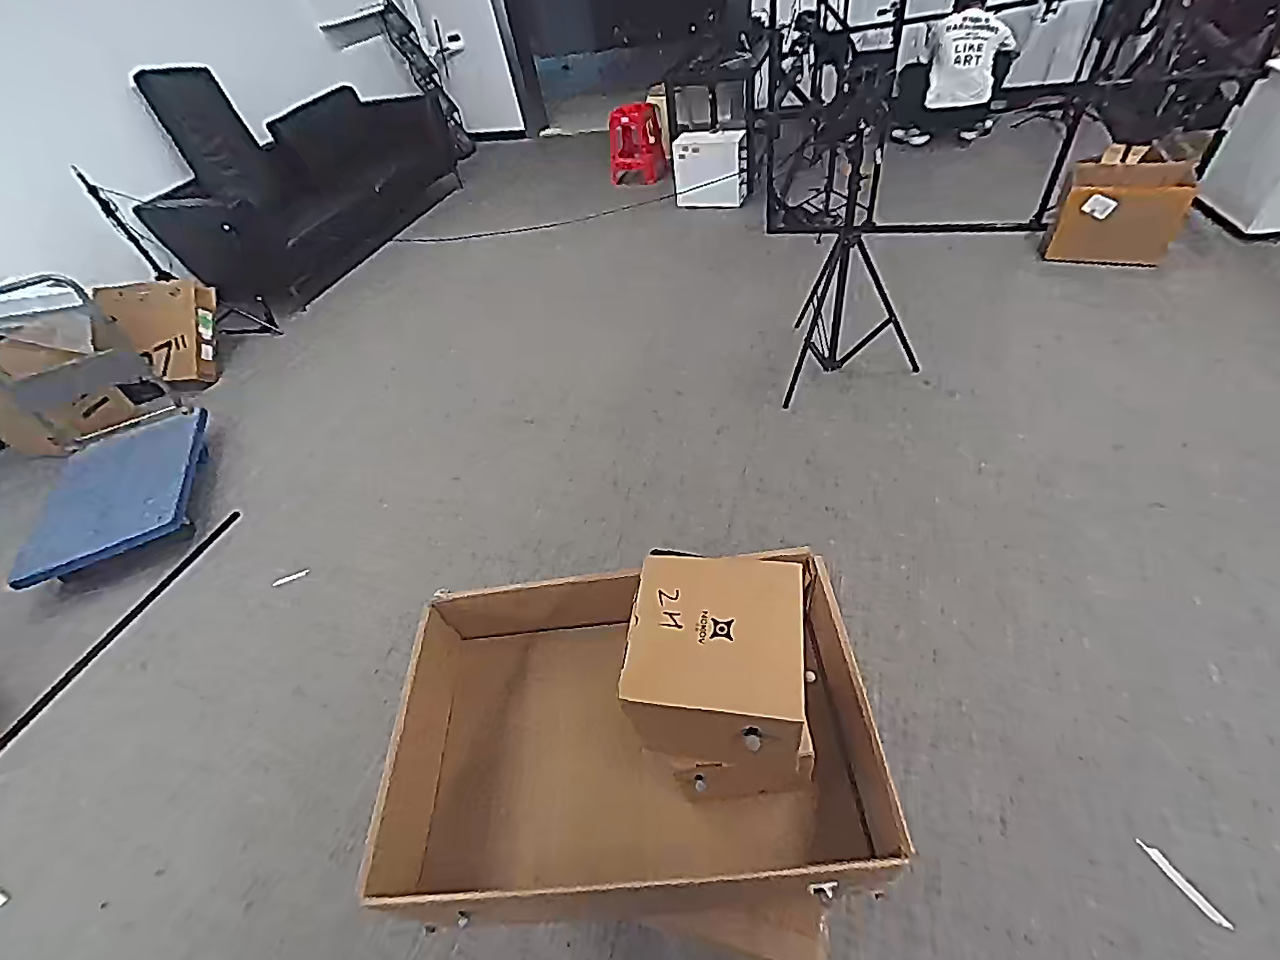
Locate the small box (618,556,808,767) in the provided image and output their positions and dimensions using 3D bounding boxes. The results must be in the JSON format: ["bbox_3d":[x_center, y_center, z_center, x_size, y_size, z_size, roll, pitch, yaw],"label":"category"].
[{"bbox_3d":[0.091,0.203,0.603,0.179,0.176,0.168,1,48,15],"label":"small box"}]
